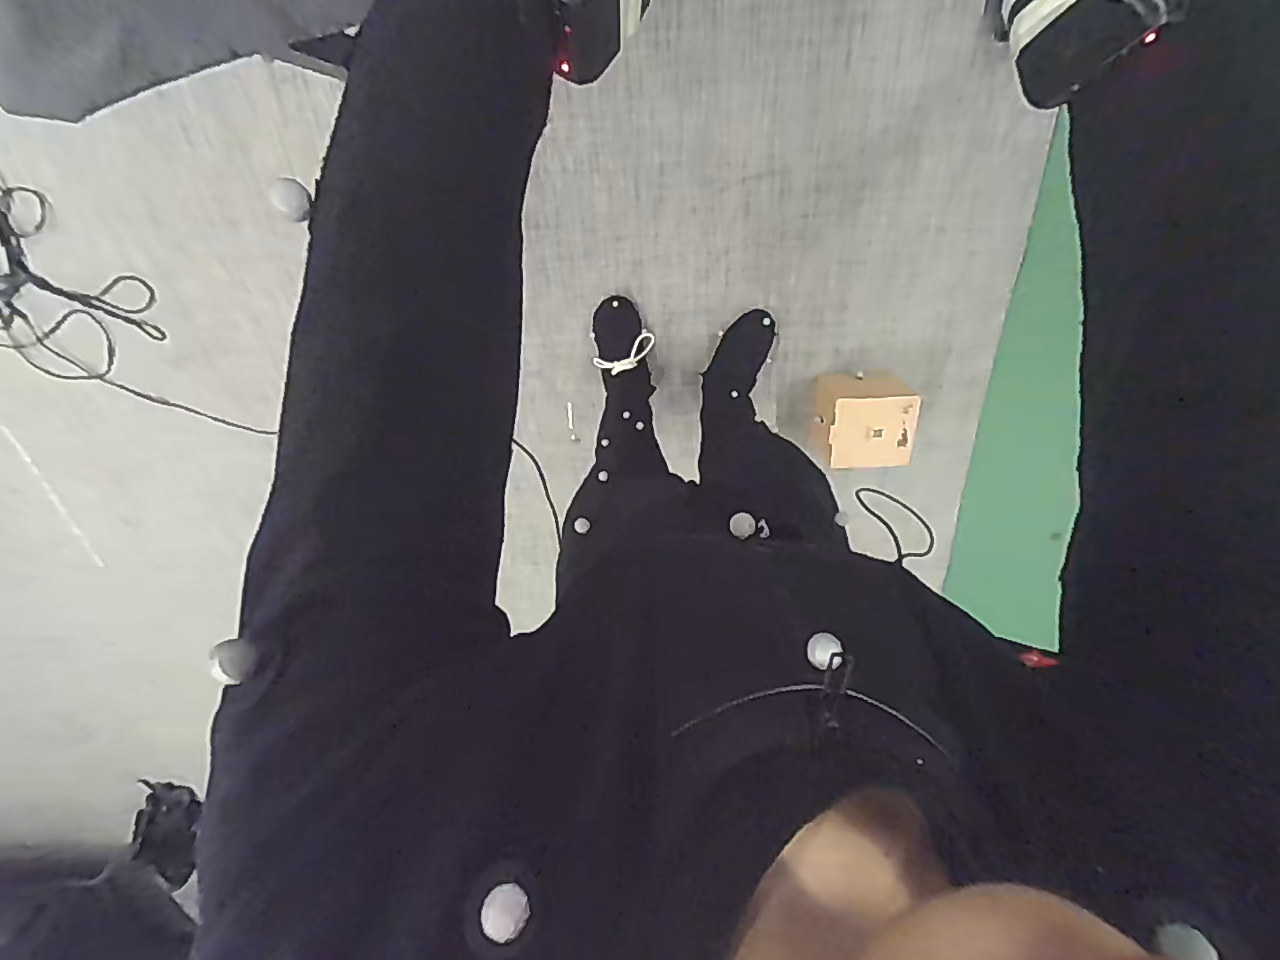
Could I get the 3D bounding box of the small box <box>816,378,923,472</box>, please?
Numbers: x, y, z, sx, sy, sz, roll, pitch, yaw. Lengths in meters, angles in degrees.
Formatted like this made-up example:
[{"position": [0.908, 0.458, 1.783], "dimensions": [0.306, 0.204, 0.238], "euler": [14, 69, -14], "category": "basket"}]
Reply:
[{"position": [0.505, -0.127, 1.221], "dimensions": [0.179, 0.176, 0.168], "euler": [-1, 117, 5], "category": "small box"}]
